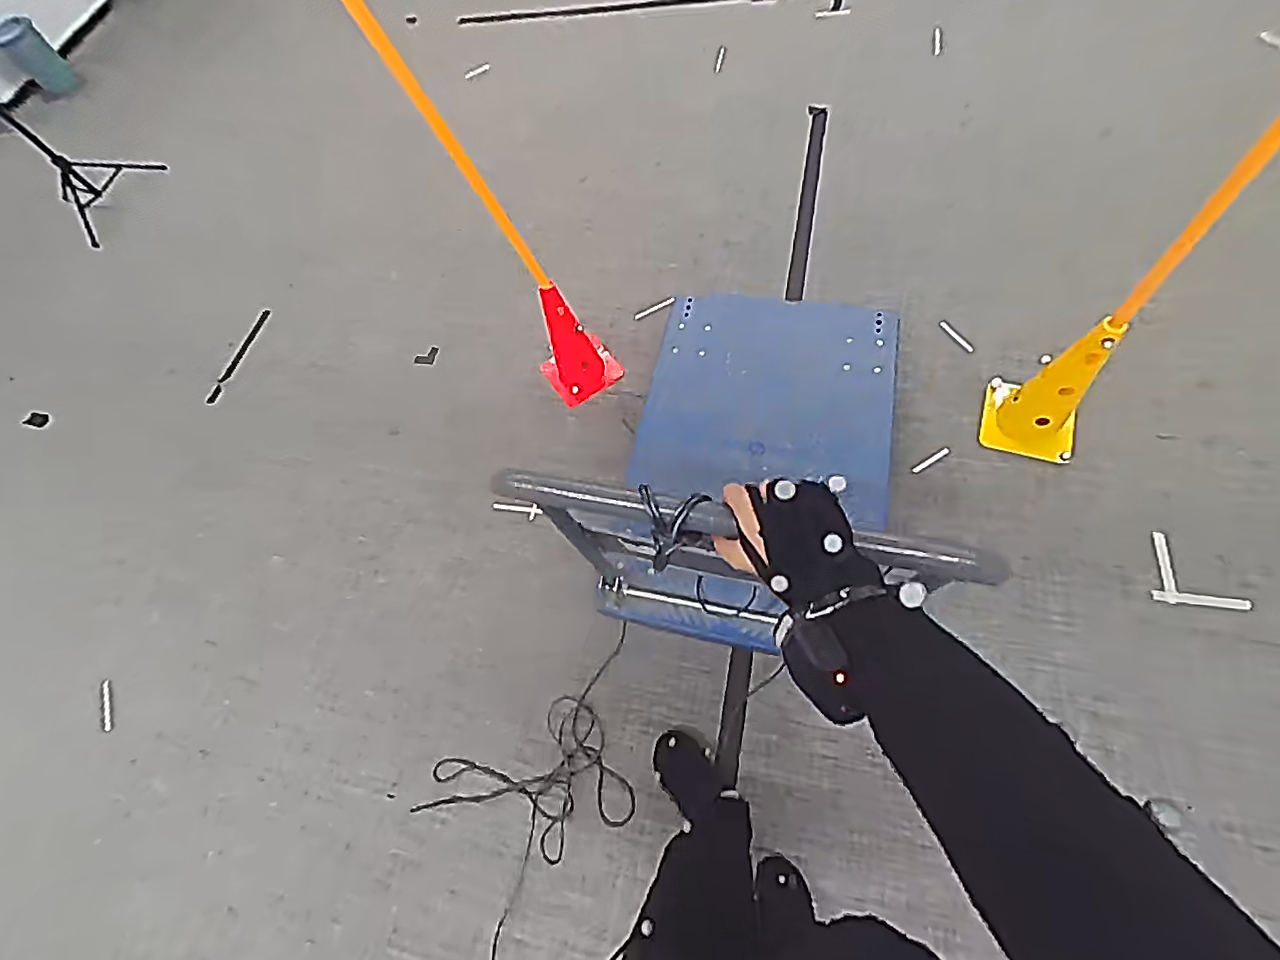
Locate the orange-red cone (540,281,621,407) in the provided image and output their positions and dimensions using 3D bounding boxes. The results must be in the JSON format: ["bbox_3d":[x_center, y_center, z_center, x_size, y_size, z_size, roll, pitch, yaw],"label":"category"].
[{"bbox_3d":[-0.202,-0.398,1.471,0.199,0.360,0.198,-33,65,-7],"label":"orange-red cone"}]
